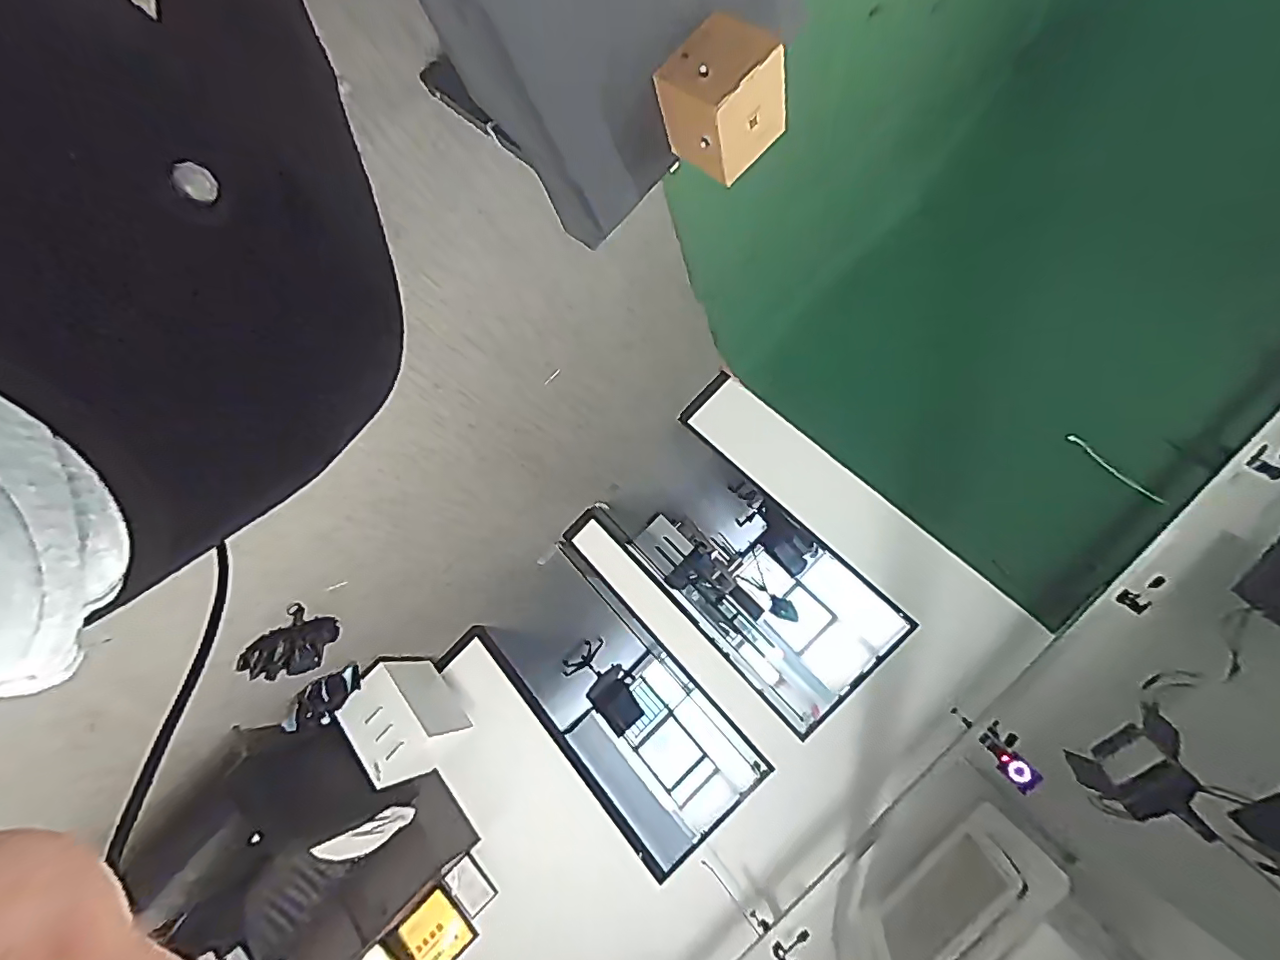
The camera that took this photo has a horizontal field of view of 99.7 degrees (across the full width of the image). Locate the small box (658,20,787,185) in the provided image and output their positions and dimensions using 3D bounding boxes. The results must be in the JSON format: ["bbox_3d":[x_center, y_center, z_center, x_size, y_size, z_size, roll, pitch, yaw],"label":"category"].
[{"bbox_3d":[0.156,-0.711,1.016,0.168,0.176,0.179,-44,160,1],"label":"small box"}]
